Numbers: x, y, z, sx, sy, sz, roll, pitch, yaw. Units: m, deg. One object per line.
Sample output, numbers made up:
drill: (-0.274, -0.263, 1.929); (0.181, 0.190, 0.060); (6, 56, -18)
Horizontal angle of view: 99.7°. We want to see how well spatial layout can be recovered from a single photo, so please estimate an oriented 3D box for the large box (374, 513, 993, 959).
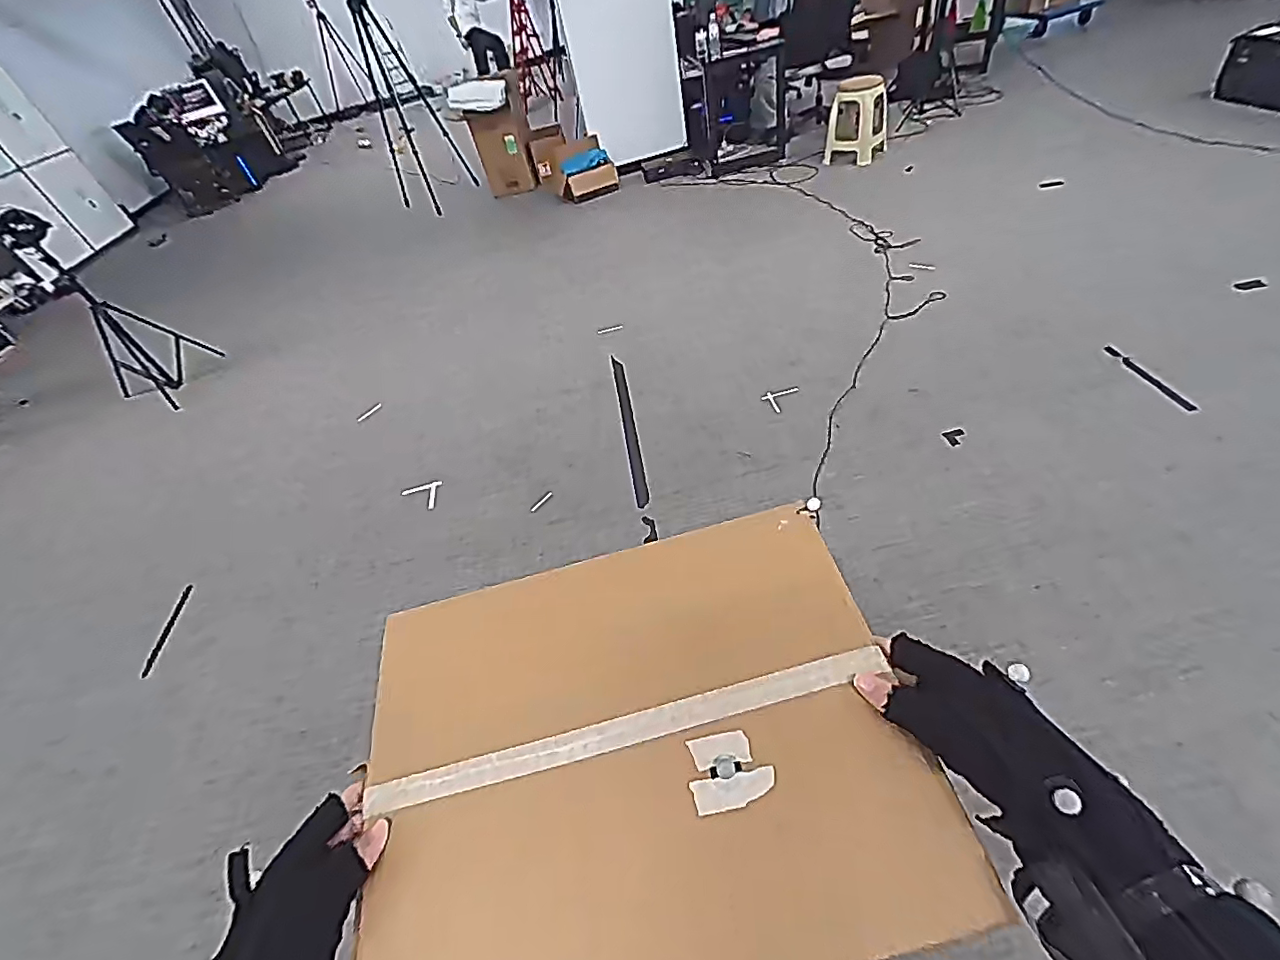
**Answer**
large box: (0.019, 0.289, 0.533); (0.408, 0.320, 0.320); (-16, 51, 0)
